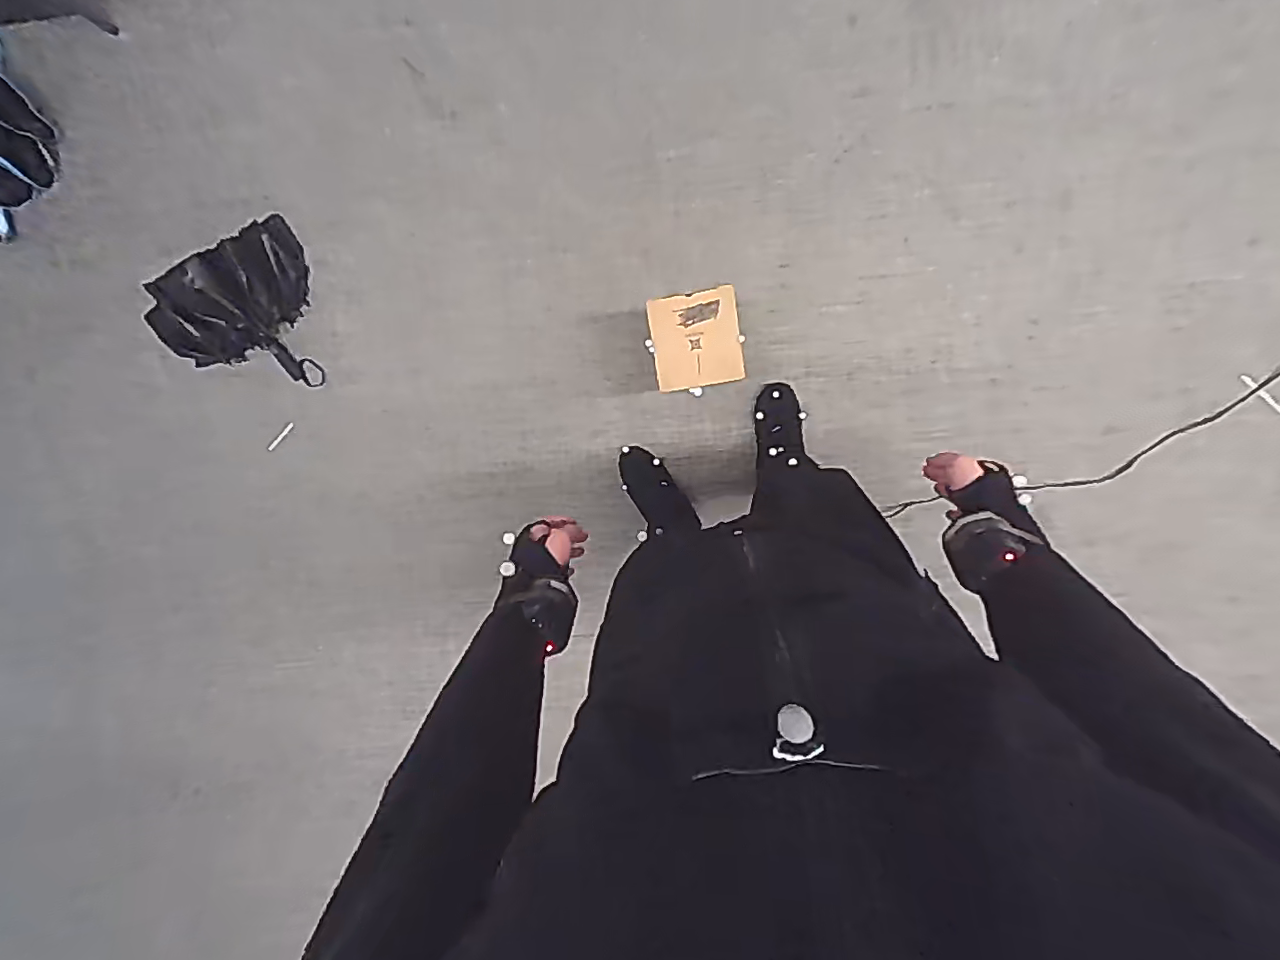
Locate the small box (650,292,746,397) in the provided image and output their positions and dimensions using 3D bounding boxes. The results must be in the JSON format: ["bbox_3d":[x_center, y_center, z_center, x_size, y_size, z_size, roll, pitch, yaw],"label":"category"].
[{"bbox_3d":[0.112,-0.264,1.088,0.168,0.176,0.179,-8,100,5],"label":"small box"}]
